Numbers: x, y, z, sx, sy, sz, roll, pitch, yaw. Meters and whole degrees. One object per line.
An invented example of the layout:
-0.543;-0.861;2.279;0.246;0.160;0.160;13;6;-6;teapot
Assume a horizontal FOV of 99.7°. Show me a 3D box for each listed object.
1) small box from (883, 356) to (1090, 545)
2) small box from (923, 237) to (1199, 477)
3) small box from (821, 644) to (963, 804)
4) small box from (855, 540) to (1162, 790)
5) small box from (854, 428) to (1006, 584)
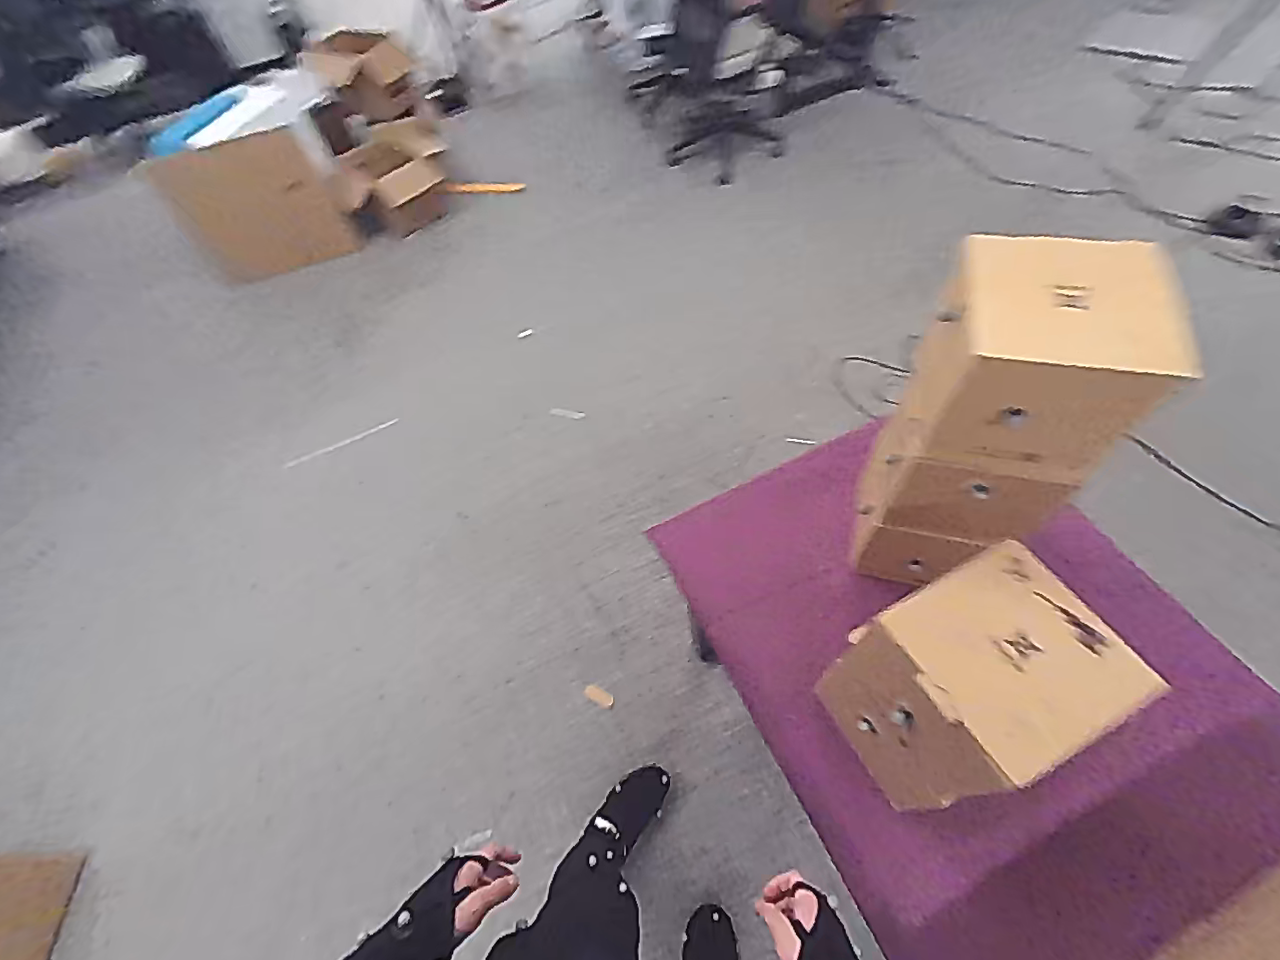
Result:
0.429;-0.034;0.698;0.179;0.176;0.168;12;62;14;small box
0.410;-0.123;0.565;0.168;0.176;0.179;10;60;14;small box
0.359;0.288;0.695;0.168;0.176;0.179;-26;58;-10;small box
0.348;0.198;0.559;0.179;0.176;0.168;-25;59;-9;small box
0.440;0.050;0.837;0.168;0.176;0.179;12;60;14;small box
